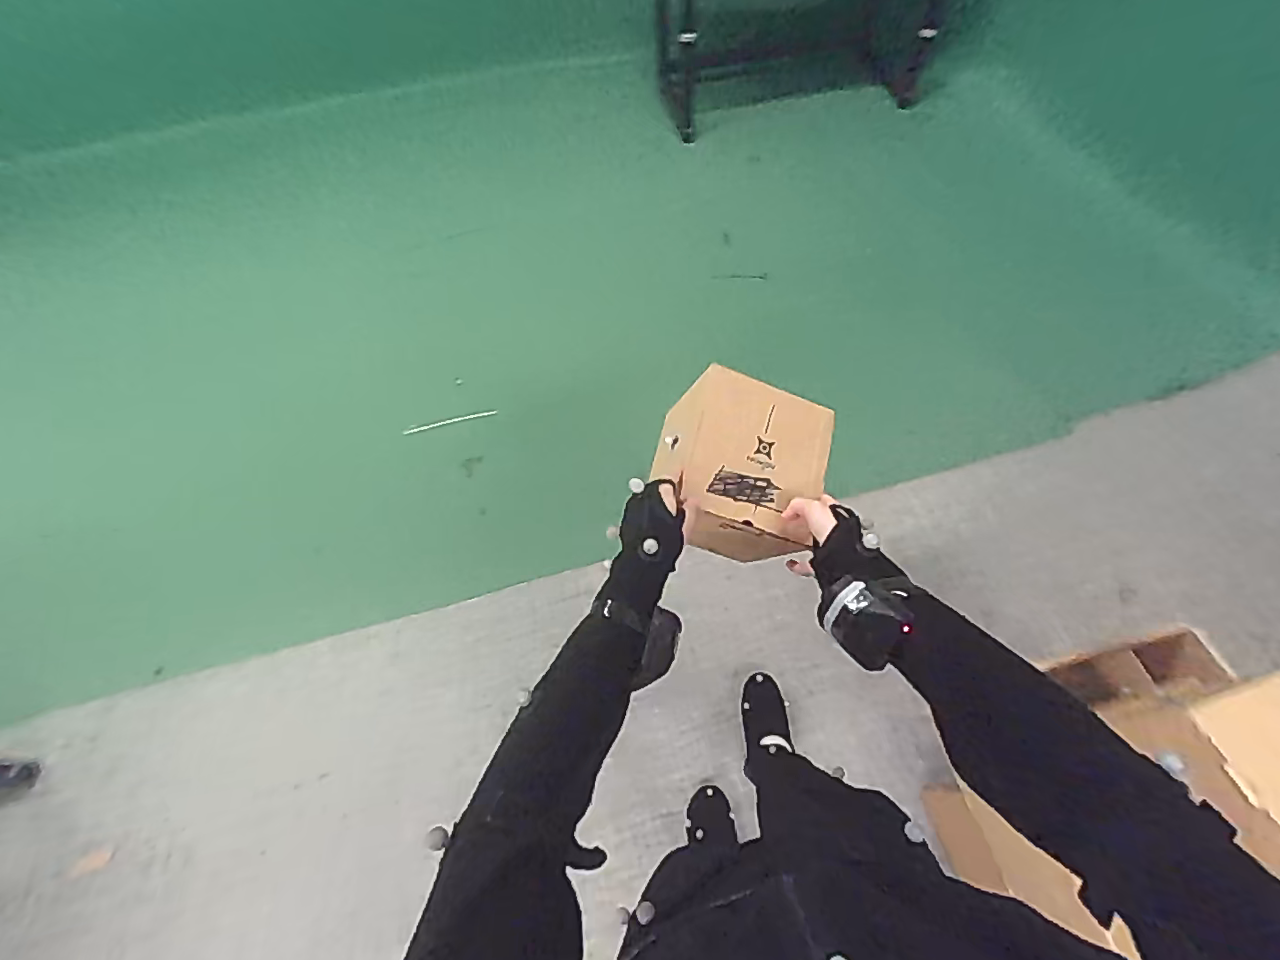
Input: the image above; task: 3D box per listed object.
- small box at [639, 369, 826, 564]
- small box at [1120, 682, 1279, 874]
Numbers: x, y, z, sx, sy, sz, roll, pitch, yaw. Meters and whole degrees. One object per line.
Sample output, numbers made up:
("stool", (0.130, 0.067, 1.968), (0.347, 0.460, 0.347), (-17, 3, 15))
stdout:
("small box", (0.107, -0.003, 0.679), (0.168, 0.176, 0.179), (18, 69, -10))
("small box", (0.754, 0.362, 0.663), (0.179, 0.176, 0.168), (-16, 60, -5))
